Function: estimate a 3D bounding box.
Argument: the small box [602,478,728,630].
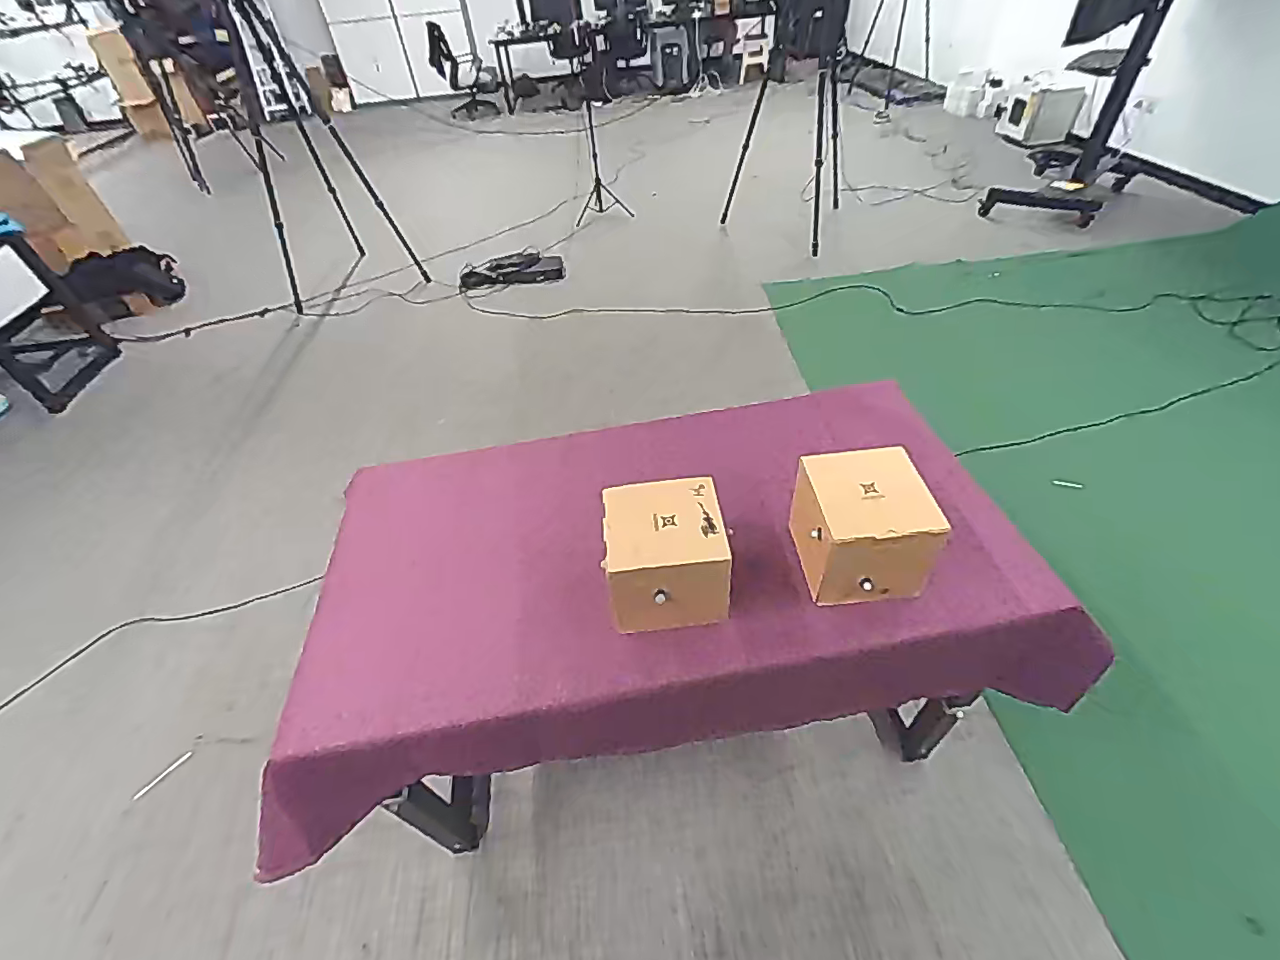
[{"bbox_3d":[0.040,0.121,0.855,0.179,0.176,0.168,-7,45,1],"label":"small box"}]

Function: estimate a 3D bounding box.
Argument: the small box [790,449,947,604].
[{"bbox_3d":[0.348,0.075,0.867,0.168,0.176,0.179,-6,45,1],"label":"small box"}]
